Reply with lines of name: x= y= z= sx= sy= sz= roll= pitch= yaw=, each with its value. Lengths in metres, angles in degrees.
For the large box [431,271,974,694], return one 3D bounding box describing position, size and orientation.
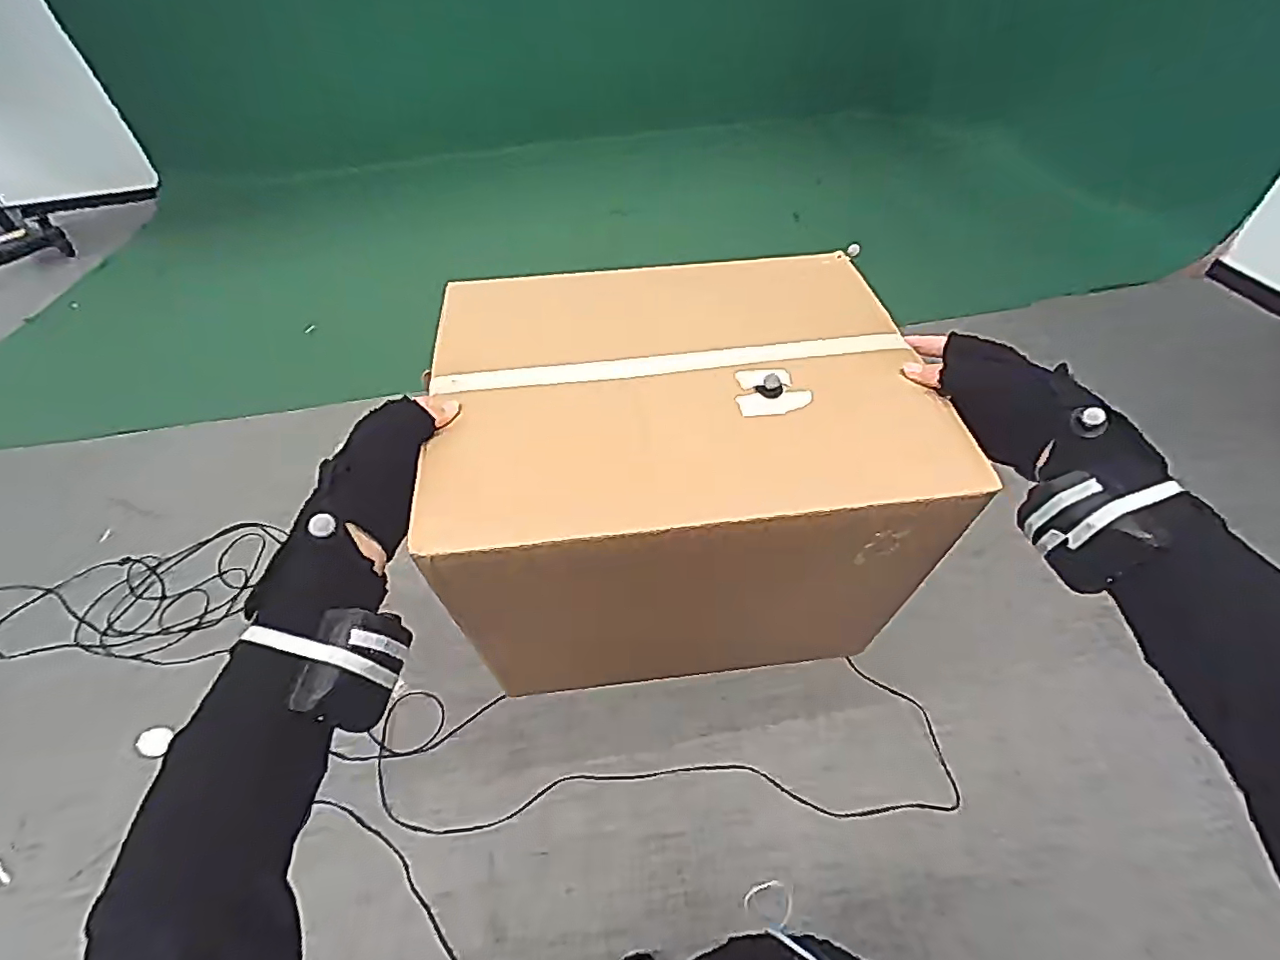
large box: x=0.031 y=0.006 z=0.587 sx=0.408 sy=0.320 sz=0.320 roll=-6 pitch=52 yaw=-5
